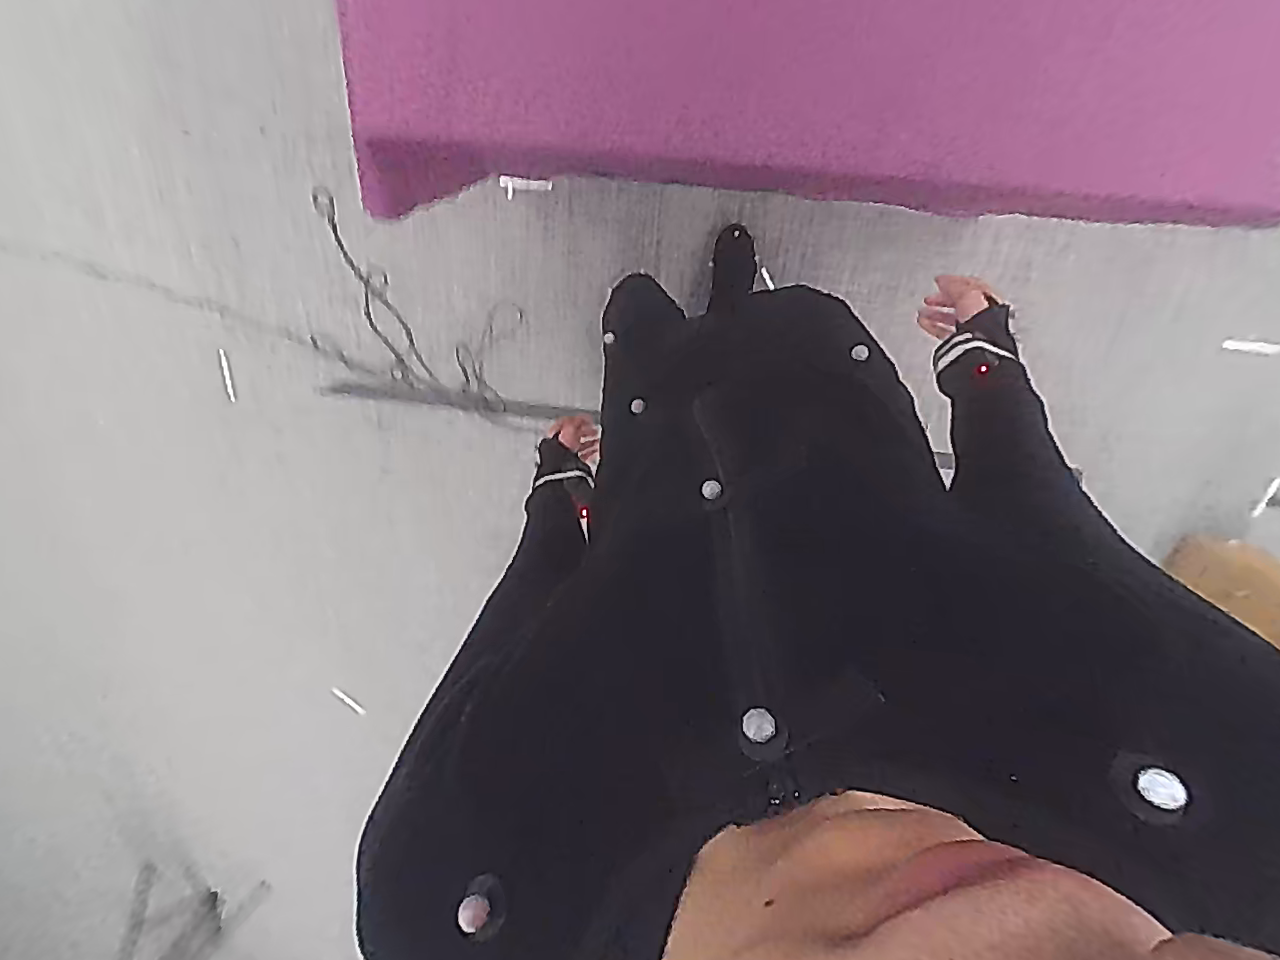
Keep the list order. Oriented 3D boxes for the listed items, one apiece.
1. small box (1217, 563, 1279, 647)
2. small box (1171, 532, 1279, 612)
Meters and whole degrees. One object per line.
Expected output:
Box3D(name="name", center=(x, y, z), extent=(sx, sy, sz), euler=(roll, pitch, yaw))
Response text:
Box3D(name="small box", center=(1.753, 0.342, 1.456), extent=(0.179, 0.176, 0.168), euler=(10, 115, 1))
Box3D(name="small box", center=(1.751, 0.277, 1.605), extent=(0.168, 0.176, 0.179), euler=(5, 114, 2))
